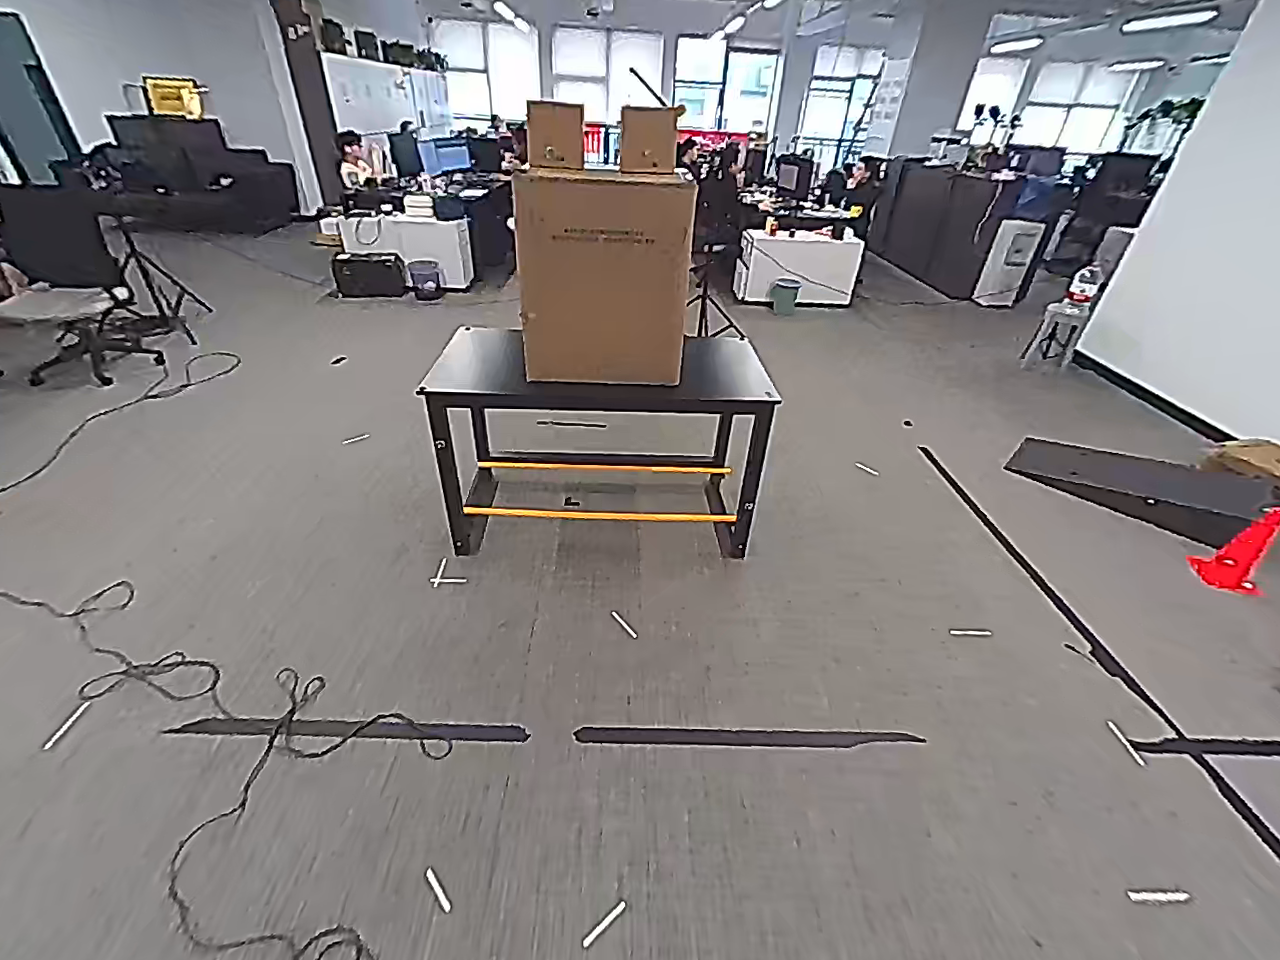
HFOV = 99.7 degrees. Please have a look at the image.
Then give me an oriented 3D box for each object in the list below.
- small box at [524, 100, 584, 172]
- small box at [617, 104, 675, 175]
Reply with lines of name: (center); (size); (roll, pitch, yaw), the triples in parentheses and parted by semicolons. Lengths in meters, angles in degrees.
small box: (-0.258, -1.051, 1.652); (0.168, 0.176, 0.179); (-1, 35, -5)
small box: (0.014, -1.044, 1.657); (0.168, 0.176, 0.179); (-1, 34, -4)
